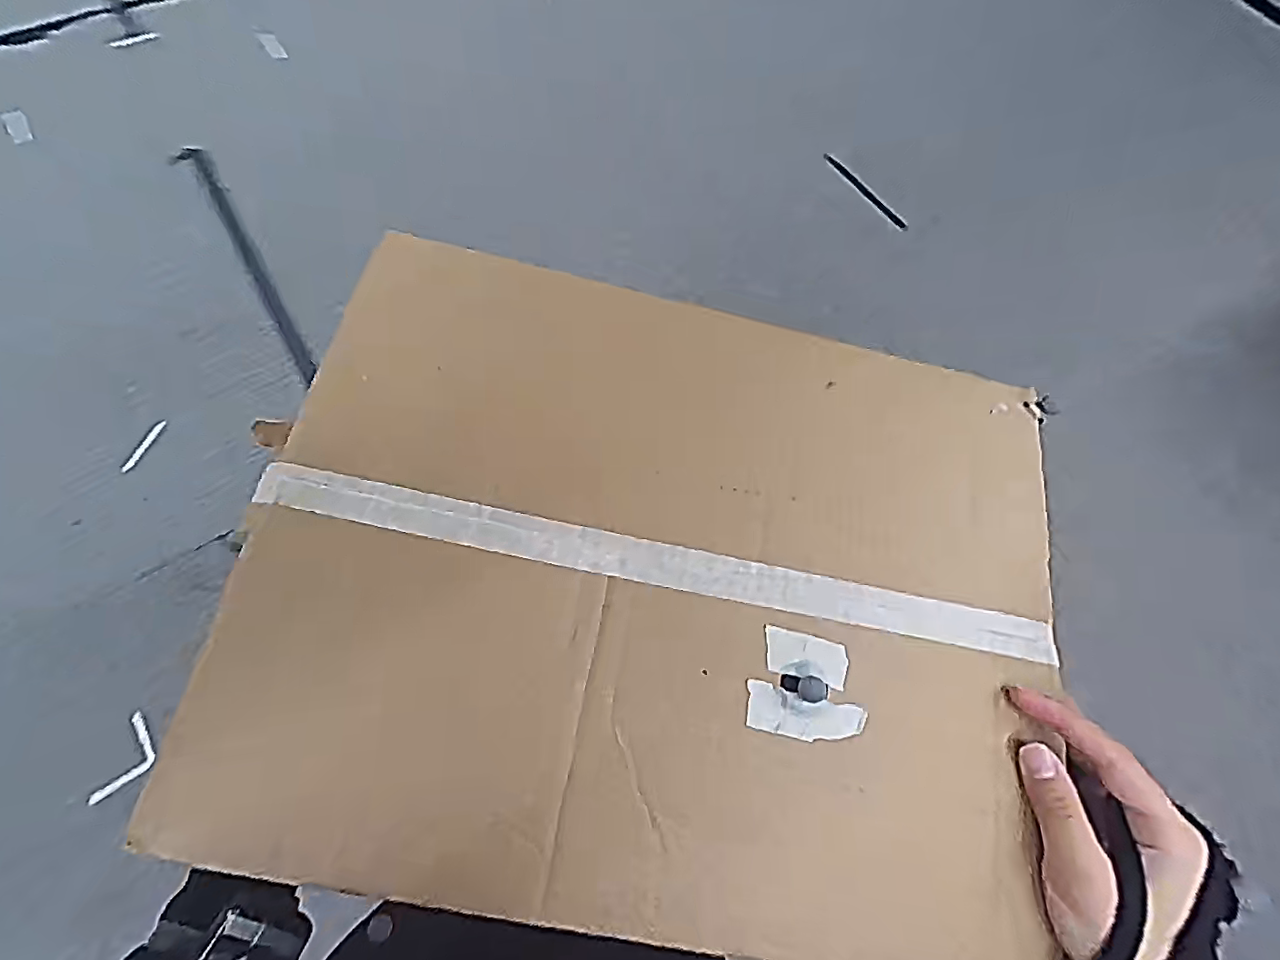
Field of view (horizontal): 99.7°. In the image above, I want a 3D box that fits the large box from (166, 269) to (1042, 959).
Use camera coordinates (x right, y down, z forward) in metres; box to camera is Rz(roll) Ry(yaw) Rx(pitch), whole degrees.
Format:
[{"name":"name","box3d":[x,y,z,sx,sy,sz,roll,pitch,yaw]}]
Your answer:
[{"name":"large box","box3d":[-0.003,0.098,0.426,0.408,0.320,0.320,12,71,-5]}]
